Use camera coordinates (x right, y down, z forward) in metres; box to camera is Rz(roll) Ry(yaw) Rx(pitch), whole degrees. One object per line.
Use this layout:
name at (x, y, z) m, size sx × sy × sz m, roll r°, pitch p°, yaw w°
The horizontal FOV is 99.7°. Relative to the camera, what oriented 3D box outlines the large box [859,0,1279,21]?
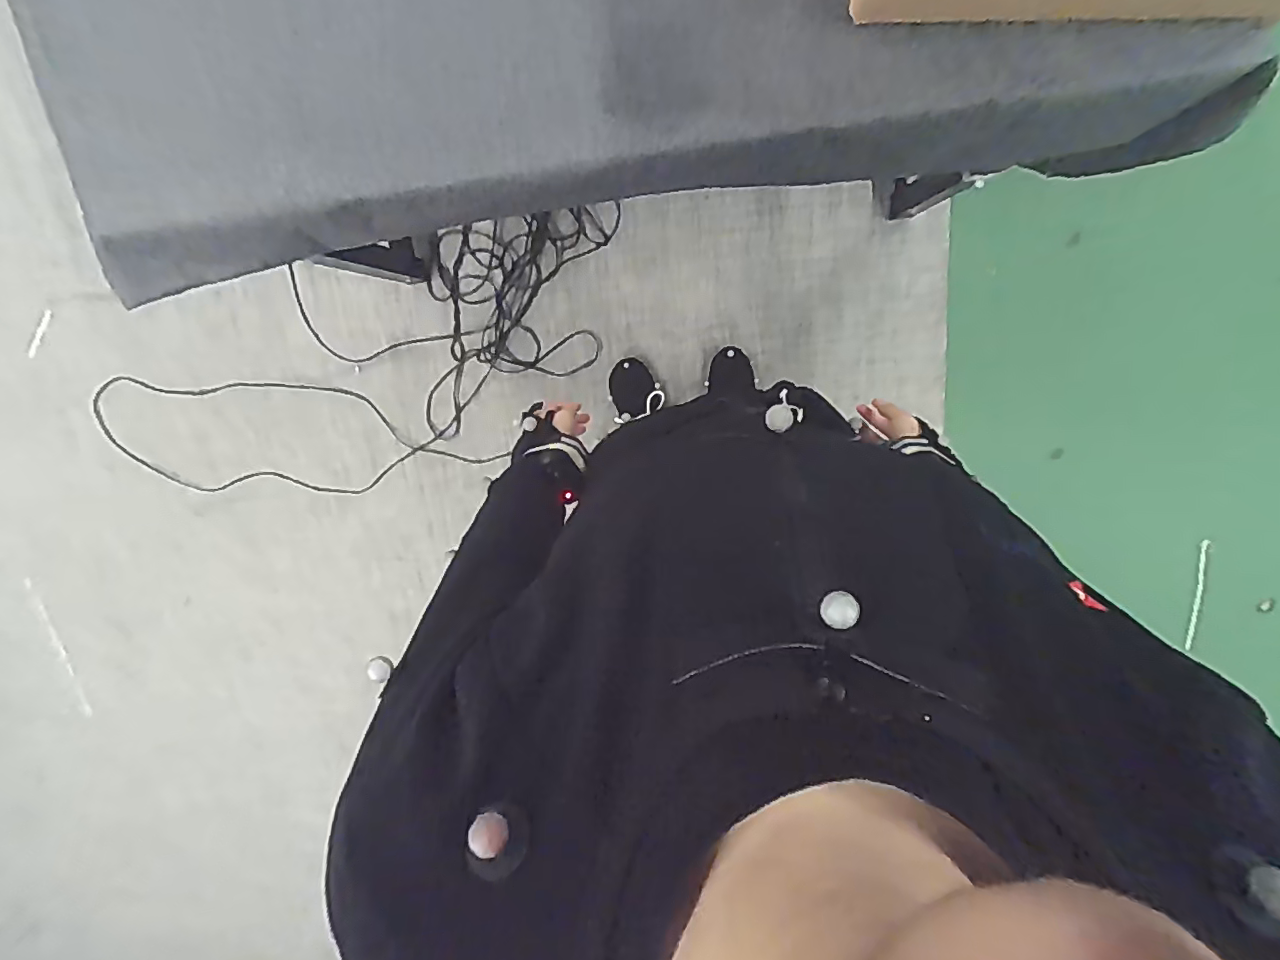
large box at (0.392, -0.547, 0.328) m, size 0.408 × 0.320 × 0.320 m, roll 0°, pitch 104°, yaw 1°
